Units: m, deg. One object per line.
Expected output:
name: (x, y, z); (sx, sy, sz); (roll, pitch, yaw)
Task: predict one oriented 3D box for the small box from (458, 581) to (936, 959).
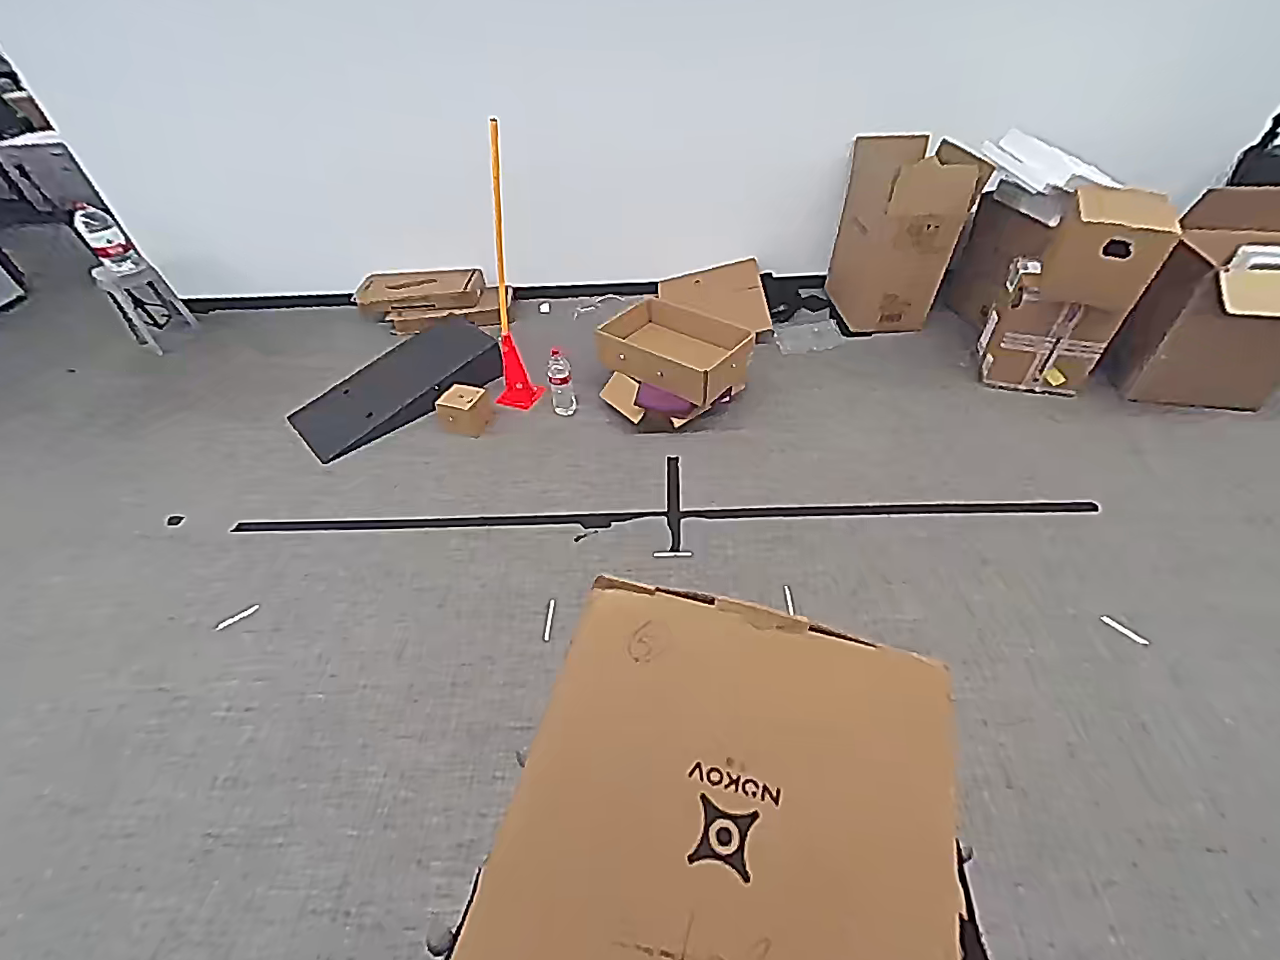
small box: (0.034, 0.183, 0.283); (0.168, 0.176, 0.179); (13, 57, 11)
